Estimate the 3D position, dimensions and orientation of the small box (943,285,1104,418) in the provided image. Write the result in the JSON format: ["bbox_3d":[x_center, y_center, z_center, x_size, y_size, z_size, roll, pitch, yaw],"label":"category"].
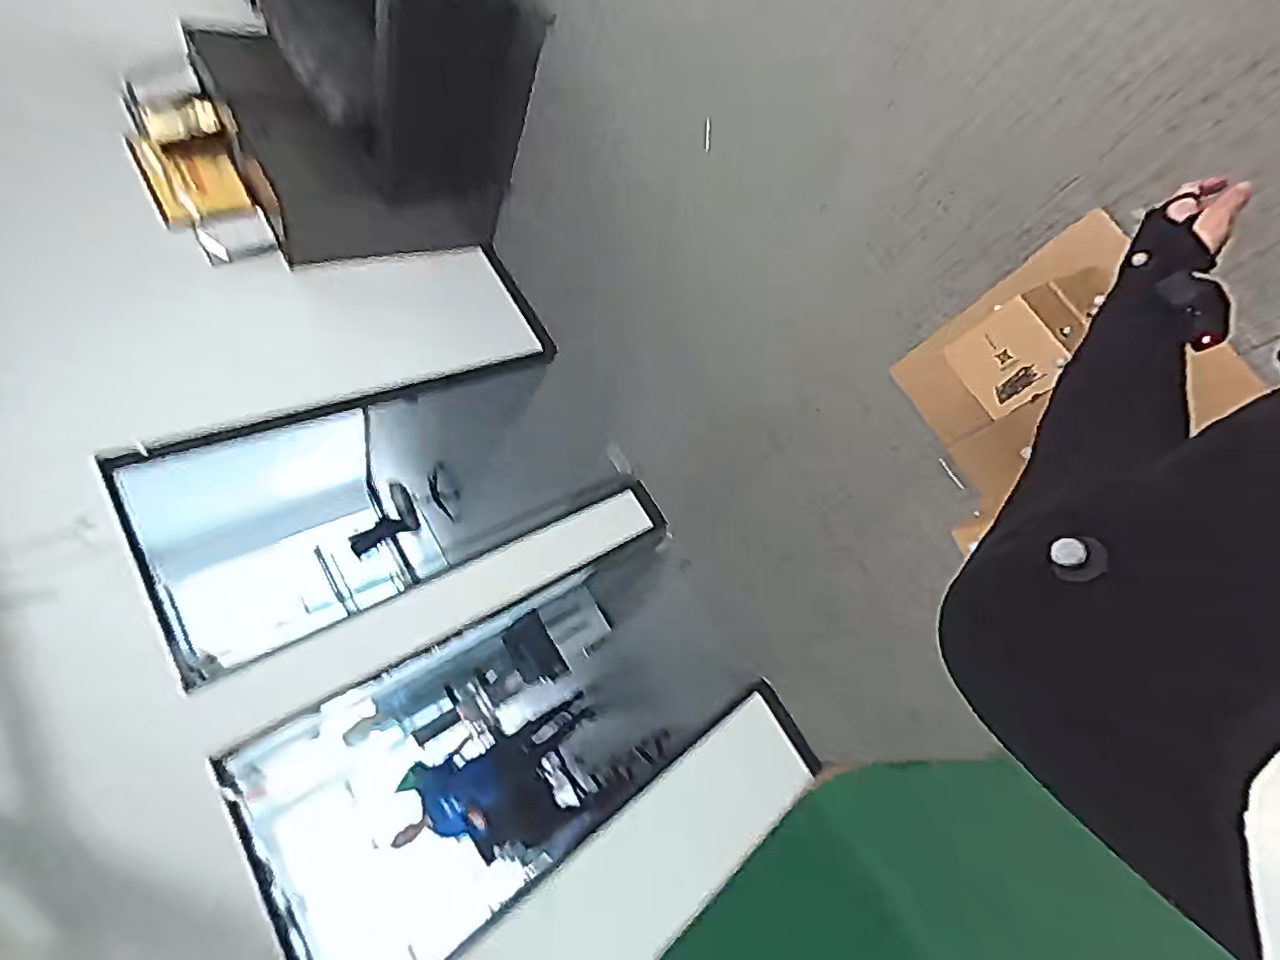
[{"bbox_3d":[0.744,-0.254,1.048,0.179,0.176,0.168,57,144,11],"label":"small box"}]

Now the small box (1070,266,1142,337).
[{"bbox_3d":[0.988,-0.365,1.235,0.179,0.176,0.168,58,145,11],"label":"small box"}]

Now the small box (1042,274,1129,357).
[{"bbox_3d":[0.870,-0.312,1.138,0.179,0.176,0.168,56,144,11],"label":"small box"}]

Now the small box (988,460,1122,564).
[{"bbox_3d":[0.954,0.067,1.245,0.179,0.176,0.168,62,146,5],"label":"small box"}]
